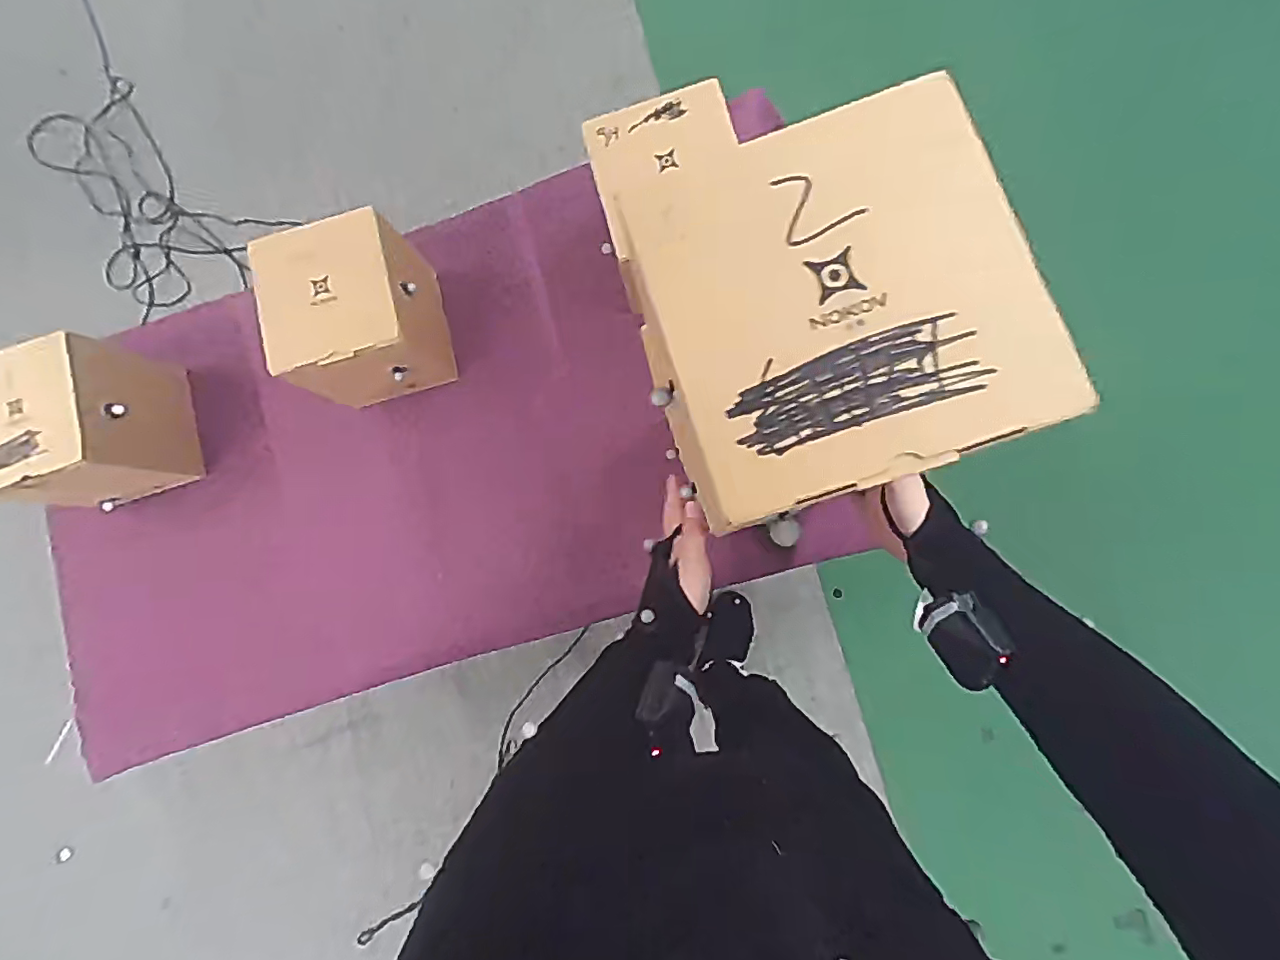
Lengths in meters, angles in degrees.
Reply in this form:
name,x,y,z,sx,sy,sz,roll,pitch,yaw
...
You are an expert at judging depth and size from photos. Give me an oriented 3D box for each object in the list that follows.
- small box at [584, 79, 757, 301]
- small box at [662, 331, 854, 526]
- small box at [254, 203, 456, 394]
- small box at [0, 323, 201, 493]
name,x,y,z,sx,sy,sz,roll,pitch,yaw
small box,0.041,-0.348,0.693,0.168,0.176,0.179,-15,86,4
small box,0.130,-0.048,0.654,0.168,0.176,0.179,-17,82,5
small box,-0.366,-0.225,0.723,0.168,0.176,0.179,-13,83,3
small box,-0.753,-0.084,0.744,0.168,0.176,0.179,-16,83,3
